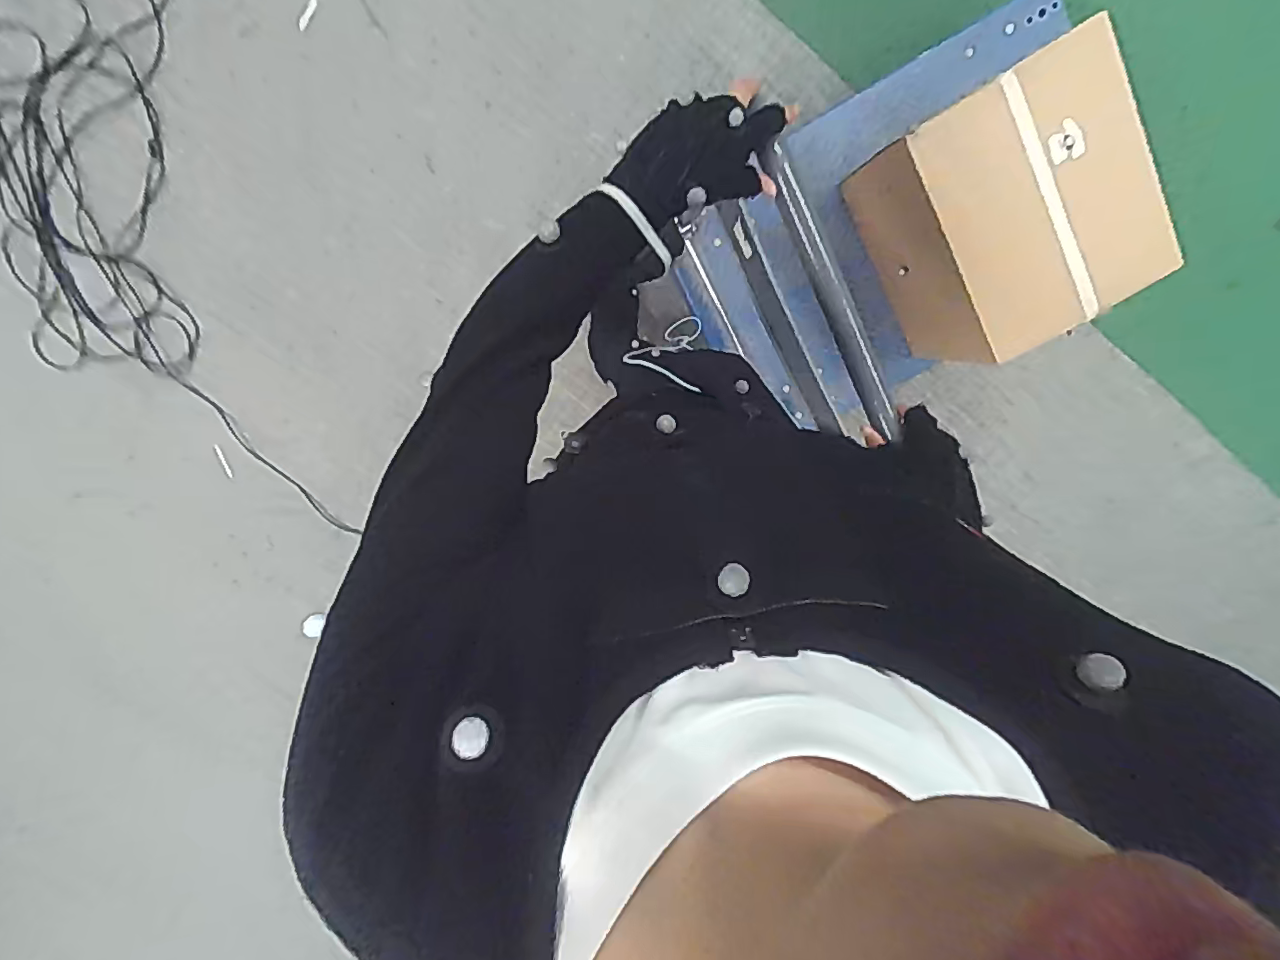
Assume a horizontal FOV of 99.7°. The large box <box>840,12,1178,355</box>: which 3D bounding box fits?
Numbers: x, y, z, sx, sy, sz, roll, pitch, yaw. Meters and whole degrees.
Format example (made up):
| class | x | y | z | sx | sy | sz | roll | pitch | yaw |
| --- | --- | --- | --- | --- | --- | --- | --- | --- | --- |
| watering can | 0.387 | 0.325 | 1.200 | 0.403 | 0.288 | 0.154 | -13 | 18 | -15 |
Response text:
| class | x | y | z | sx | sy | sz | roll | pitch | yaw |
| --- | --- | --- | --- | --- | --- | --- | --- | --- | --- |
| large box | 0.636 | -0.485 | 0.994 | 0.320 | 0.320 | 0.408 | -31 | 102 | 9 |
